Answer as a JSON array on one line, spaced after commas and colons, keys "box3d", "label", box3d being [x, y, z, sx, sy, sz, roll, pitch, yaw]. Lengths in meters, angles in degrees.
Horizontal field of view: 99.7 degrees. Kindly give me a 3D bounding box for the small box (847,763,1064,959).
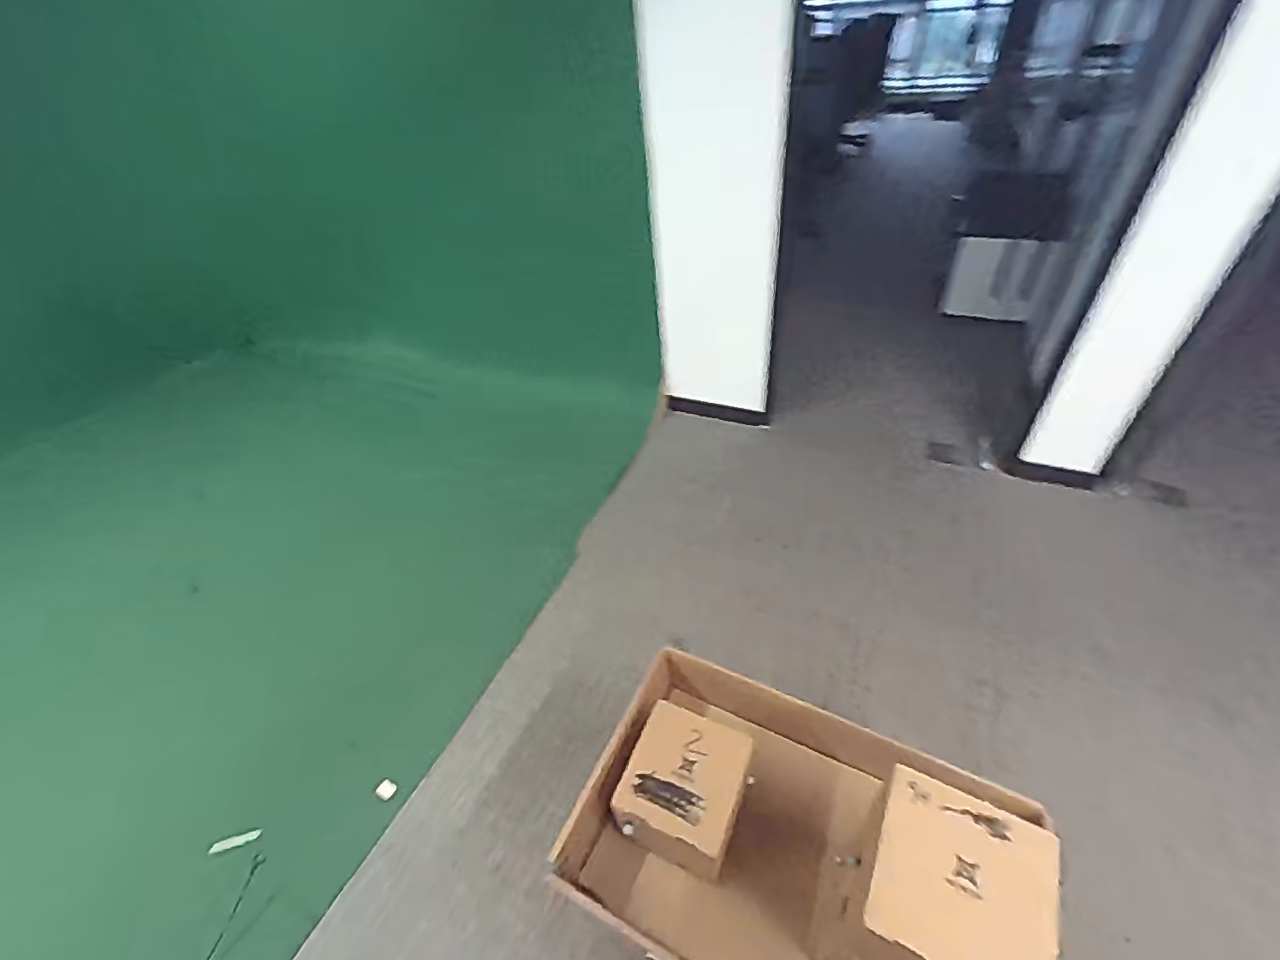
[{"box3d": [0.344, 0.469, 0.610, 0.168, 0.176, 0.179, 18, 49, 25], "label": "small box"}]
